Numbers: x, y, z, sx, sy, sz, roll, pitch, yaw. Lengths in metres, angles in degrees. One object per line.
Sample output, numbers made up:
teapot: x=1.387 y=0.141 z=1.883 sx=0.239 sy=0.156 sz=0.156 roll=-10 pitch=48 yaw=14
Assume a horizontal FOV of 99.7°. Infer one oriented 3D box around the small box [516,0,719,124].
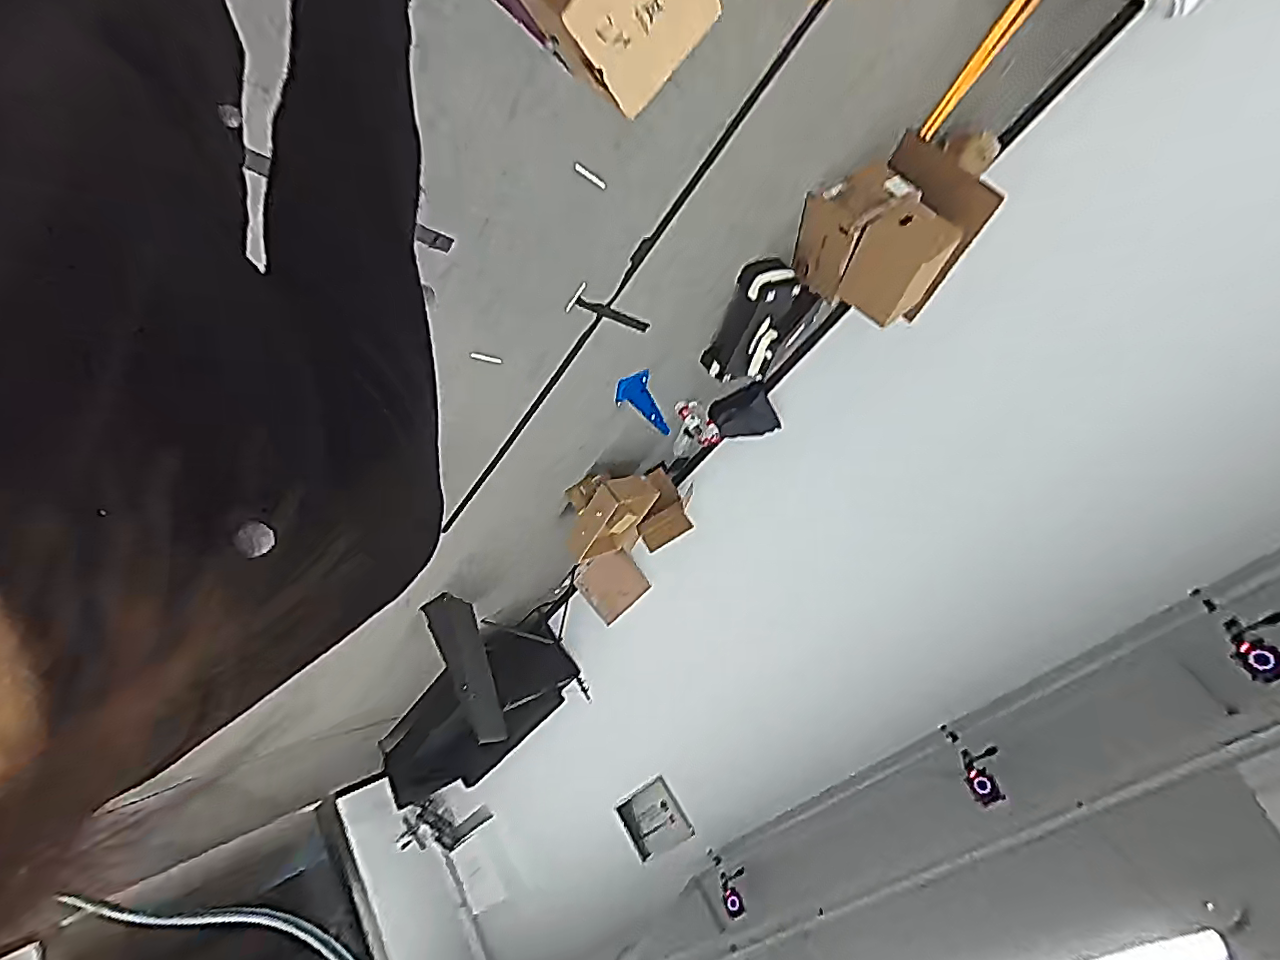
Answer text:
small box: x=-0.037 y=-0.611 z=0.677 sx=0.179 sy=0.176 sz=0.168 roll=-43 pitch=155 yaw=15
